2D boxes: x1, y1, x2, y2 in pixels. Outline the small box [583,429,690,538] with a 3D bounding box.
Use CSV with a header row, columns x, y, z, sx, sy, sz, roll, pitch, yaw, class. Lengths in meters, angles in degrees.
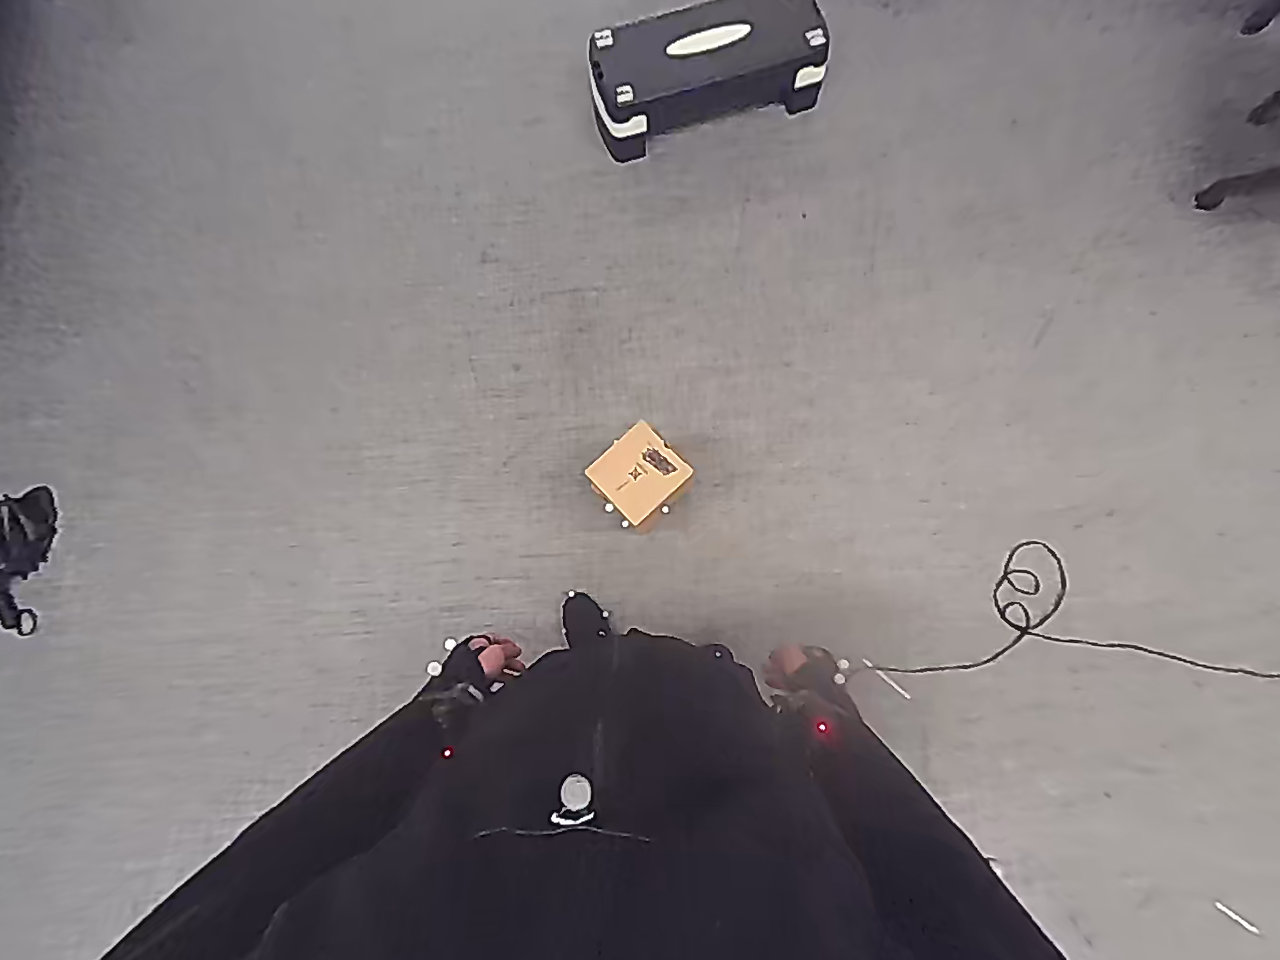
x,y,z,sx,sy,sz,roll,pitch,yaw,class
-0.006,0.015,1.241,0.179,0.176,0.168,-42,80,-6,small box
